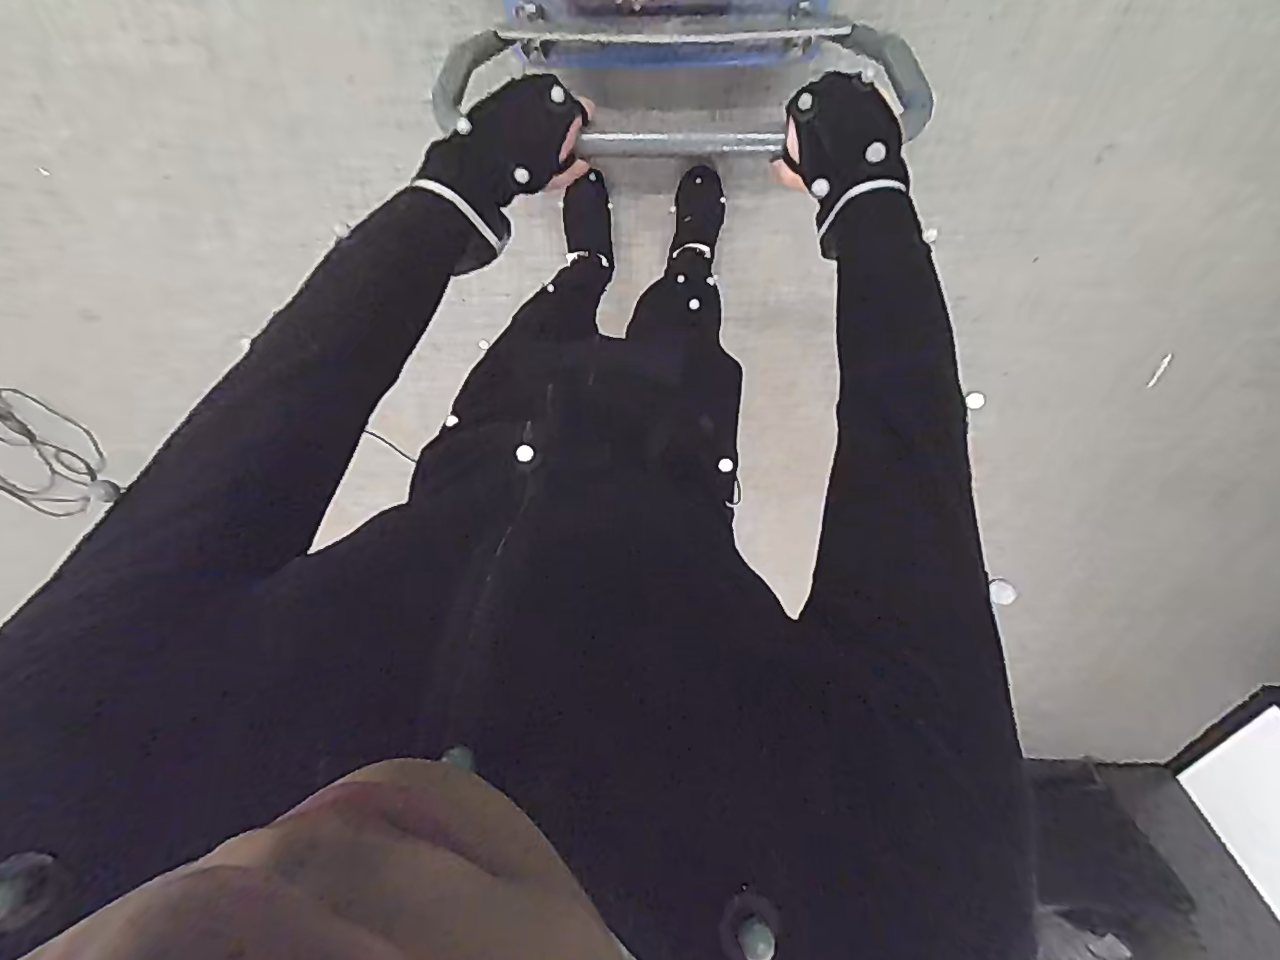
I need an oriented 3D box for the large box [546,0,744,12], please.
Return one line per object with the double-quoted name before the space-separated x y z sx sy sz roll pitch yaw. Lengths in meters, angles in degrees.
"large box" 0.015 -0.904 0.727 0.320 0.320 0.408 0 129 1
